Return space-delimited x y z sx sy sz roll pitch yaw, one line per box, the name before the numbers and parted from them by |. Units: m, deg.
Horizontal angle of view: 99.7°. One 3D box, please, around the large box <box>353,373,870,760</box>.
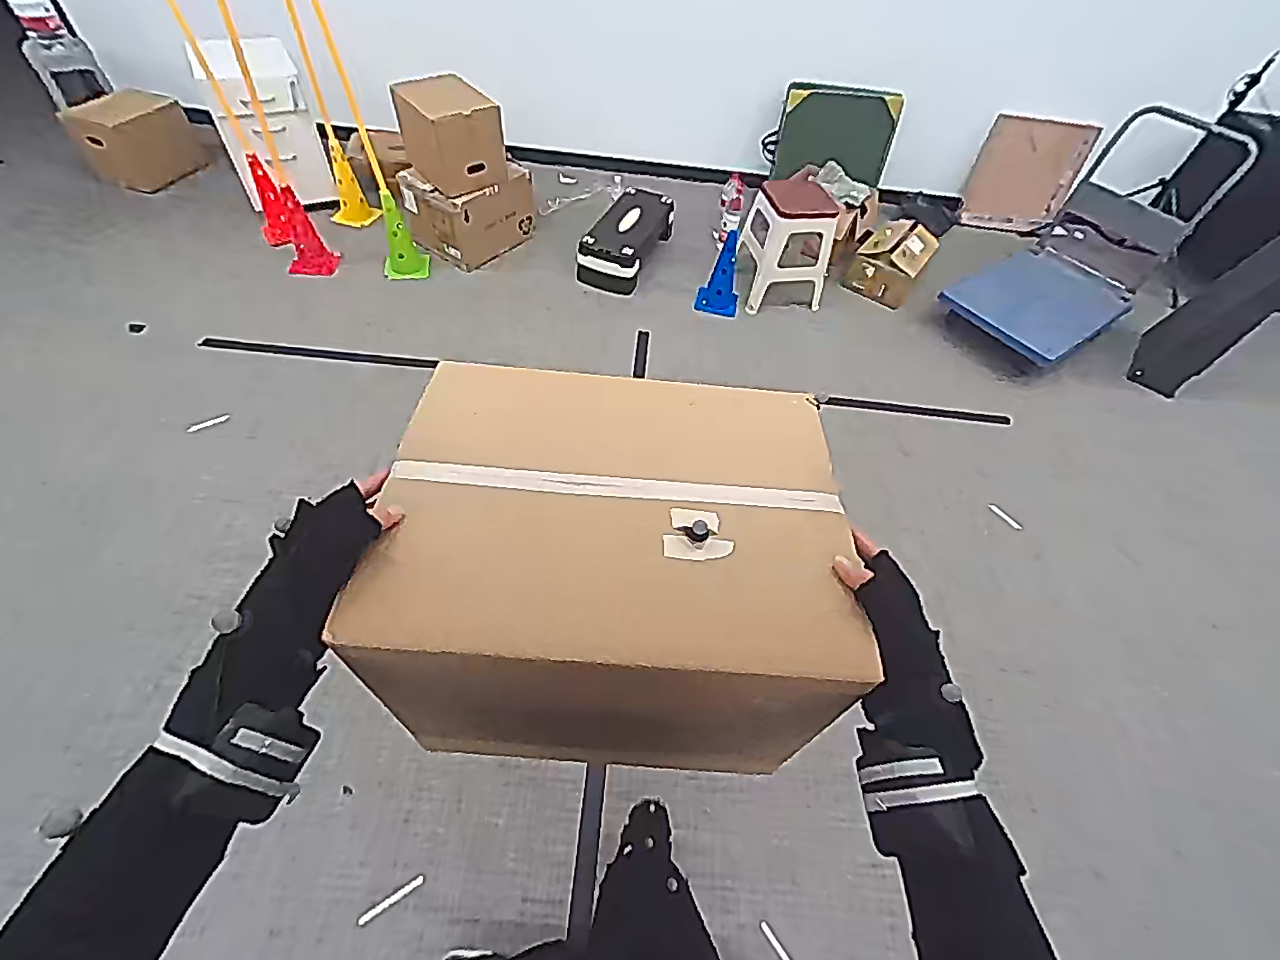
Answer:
large box | -0.028 0.108 0.615 0.408 0.320 0.320 5 51 -3
